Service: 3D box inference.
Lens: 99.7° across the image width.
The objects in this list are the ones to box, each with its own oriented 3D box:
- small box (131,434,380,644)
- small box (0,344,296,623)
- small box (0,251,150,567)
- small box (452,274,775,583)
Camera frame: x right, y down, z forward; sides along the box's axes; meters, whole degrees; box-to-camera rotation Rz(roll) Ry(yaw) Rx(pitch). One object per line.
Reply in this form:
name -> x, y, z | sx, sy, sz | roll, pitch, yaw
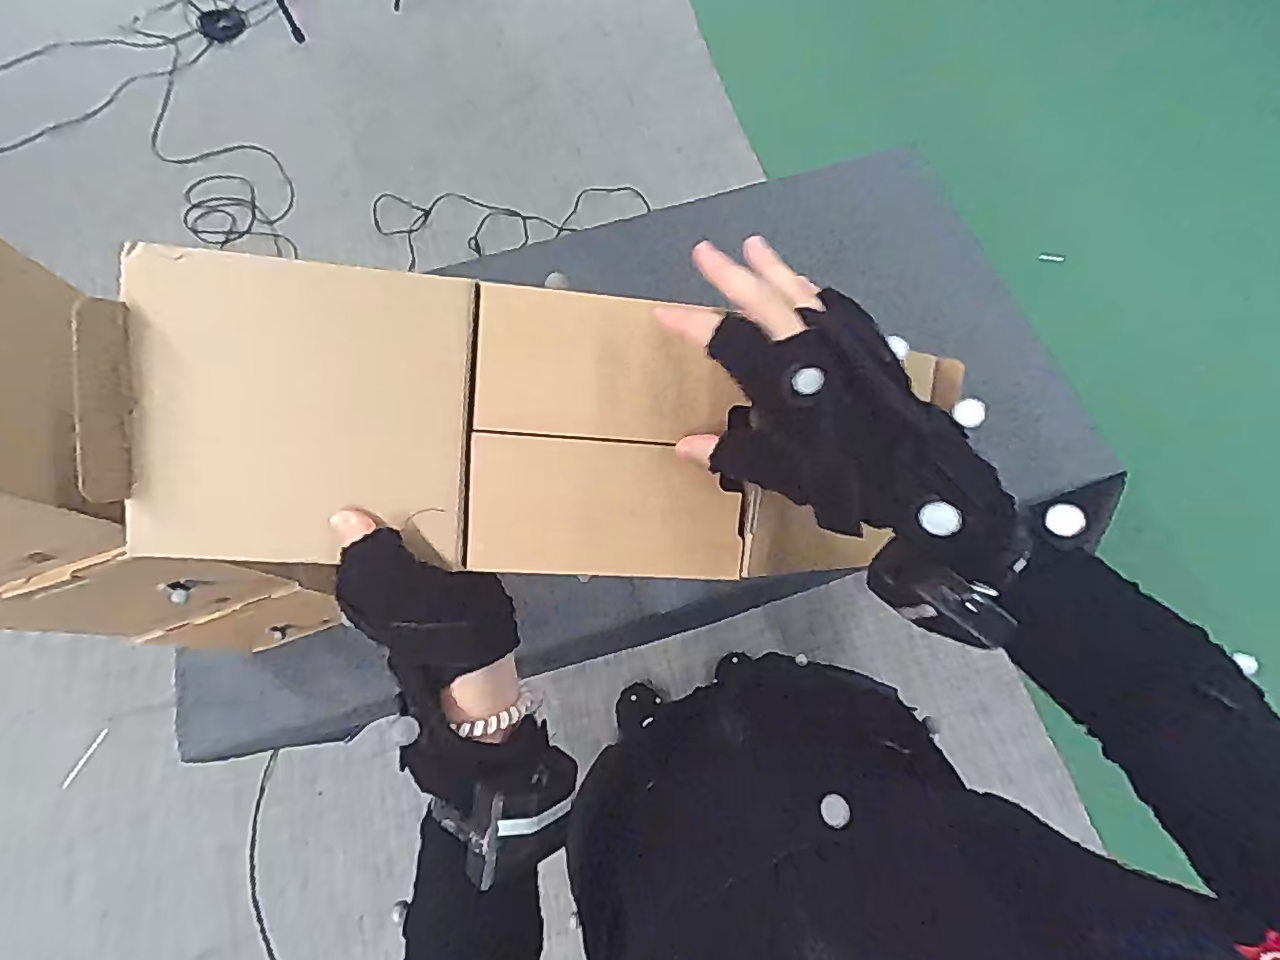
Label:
small box -> -0.427, 0.076, 0.621 | 0.168, 0.176, 0.179 | -18, 71, -4
small box -> -0.431, 0.018, 0.469 | 0.168, 0.176, 0.179 | -17, 71, -5
small box -> -0.439, -0.043, 0.317 | 0.168, 0.176, 0.179 | -18, 71, -6
small box -> -0.025, -0.035, 0.392 | 0.179, 0.176, 0.168 | 5, 97, -9
